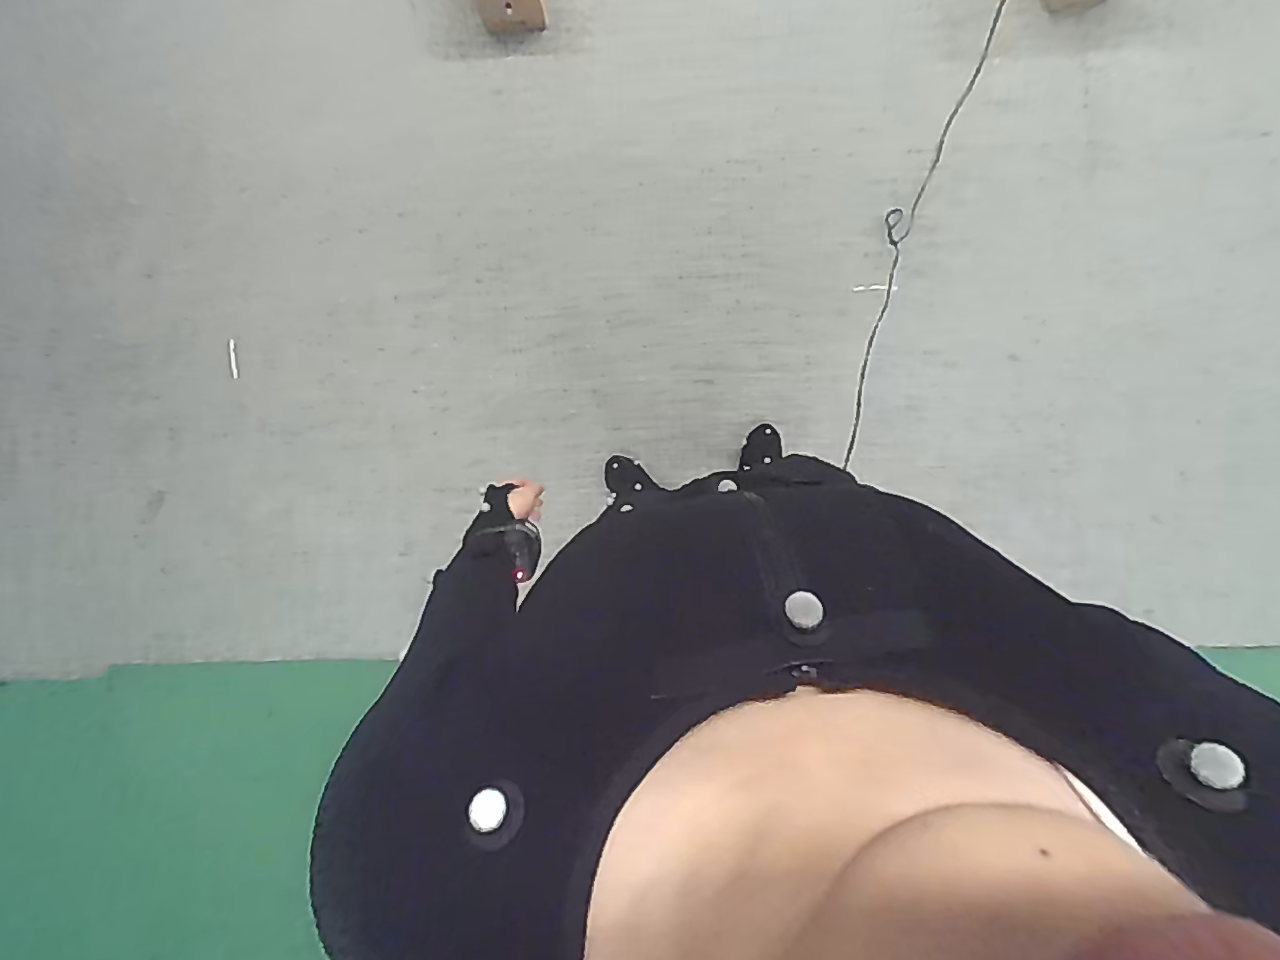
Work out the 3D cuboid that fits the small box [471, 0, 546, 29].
[{"bbox_3d":[-0.326,-1.234,1.305,0.168,0.176,0.179,-1,95,2],"label":"small box"}]
